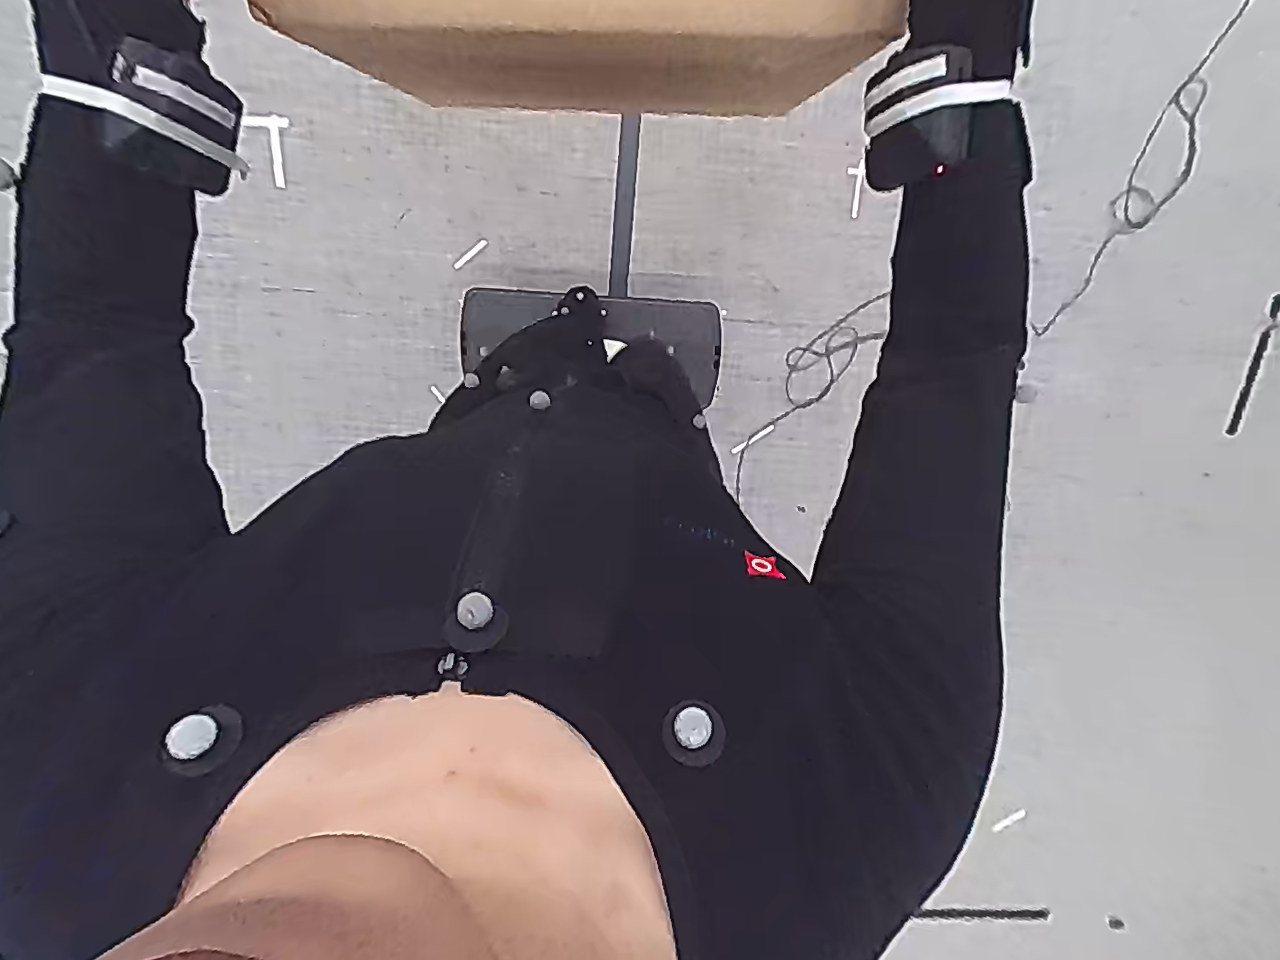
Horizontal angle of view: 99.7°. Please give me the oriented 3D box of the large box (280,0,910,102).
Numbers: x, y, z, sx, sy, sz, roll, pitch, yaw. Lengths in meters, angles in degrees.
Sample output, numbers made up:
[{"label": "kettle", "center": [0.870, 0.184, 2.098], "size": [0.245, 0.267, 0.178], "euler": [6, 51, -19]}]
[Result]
[{"label": "large box", "center": [-0.030, -0.494, 0.402], "size": [0.408, 0.320, 0.320], "euler": [0, 117, -1]}]
